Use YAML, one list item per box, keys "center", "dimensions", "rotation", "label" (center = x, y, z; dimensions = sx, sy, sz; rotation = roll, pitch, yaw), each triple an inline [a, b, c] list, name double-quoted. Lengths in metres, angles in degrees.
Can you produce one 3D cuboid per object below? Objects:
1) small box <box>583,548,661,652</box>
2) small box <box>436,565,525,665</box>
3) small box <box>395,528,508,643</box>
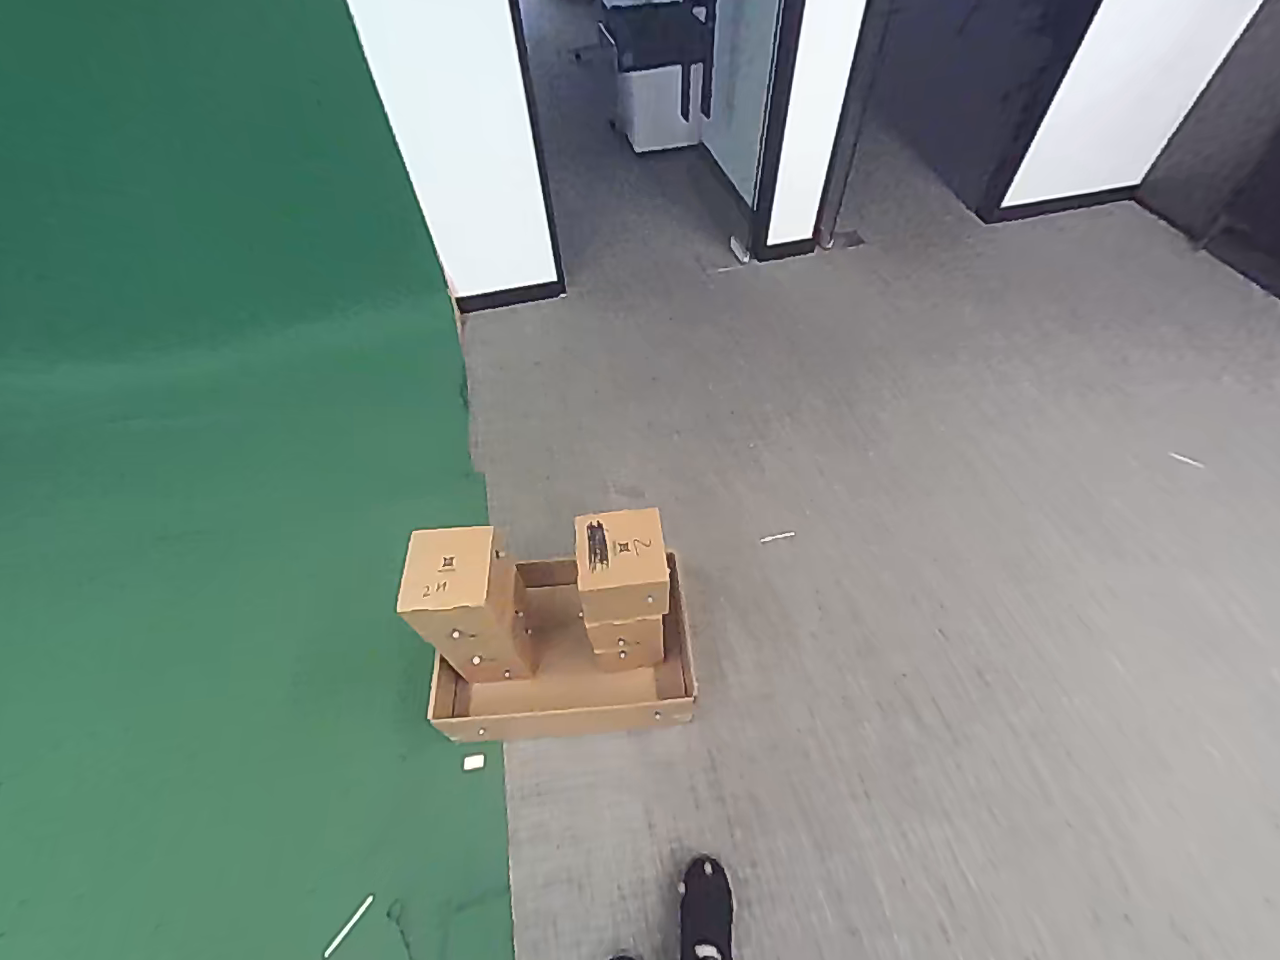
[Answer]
- center: [-0.041, 0.279, 1.249]
  dimensions: [0.168, 0.176, 0.179]
  rotation: [-6, 55, -1]
  label: "small box"
- center: [-0.365, 0.311, 1.239]
  dimensions: [0.168, 0.176, 0.179]
  rotation: [-1, 55, 0]
  label: "small box"
- center: [-0.372, 0.217, 1.104]
  dimensions: [0.168, 0.176, 0.179]
  rotation: [-3, 55, -1]
  label: "small box"
